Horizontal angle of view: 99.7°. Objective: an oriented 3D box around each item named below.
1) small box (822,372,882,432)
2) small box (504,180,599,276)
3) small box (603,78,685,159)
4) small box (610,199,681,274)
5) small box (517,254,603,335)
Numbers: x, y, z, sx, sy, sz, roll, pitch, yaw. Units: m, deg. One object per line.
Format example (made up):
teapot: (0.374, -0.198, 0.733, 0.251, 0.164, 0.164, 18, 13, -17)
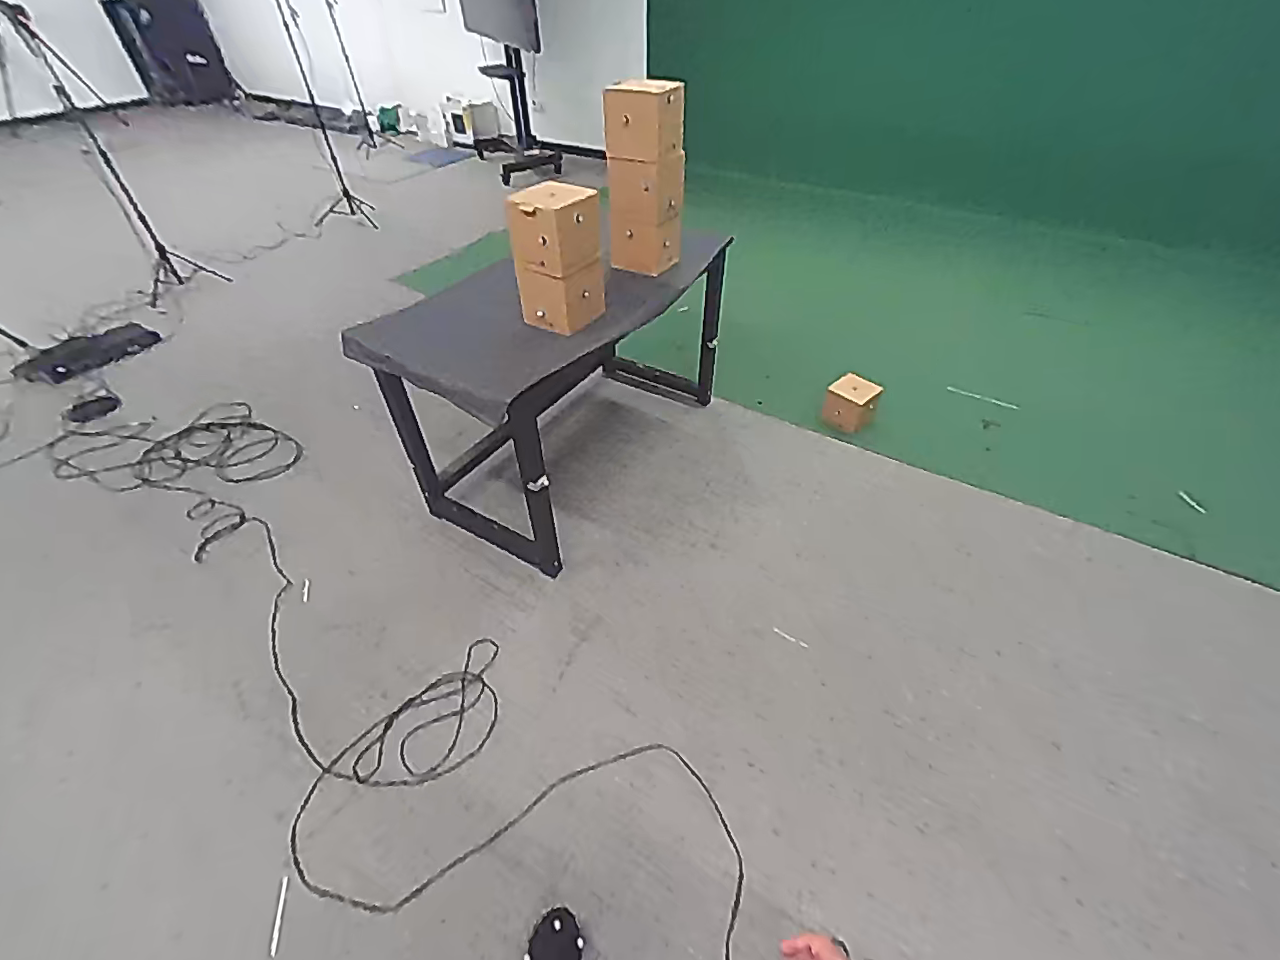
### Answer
small box: (0.908, -0.335, 2.339, 0.179, 0.176, 0.168, -32, 54, -29)
small box: (-0.216, -0.643, 1.383, 0.168, 0.176, 0.179, 25, 49, 23)
small box: (0.014, -1.029, 1.539, 0.179, 0.176, 0.168, 19, 48, 21)
small box: (0.020, -0.795, 1.769, 0.179, 0.176, 0.168, 22, 49, 23)
small box: (-0.215, -0.530, 1.499, 0.168, 0.176, 0.179, 23, 50, 23)
